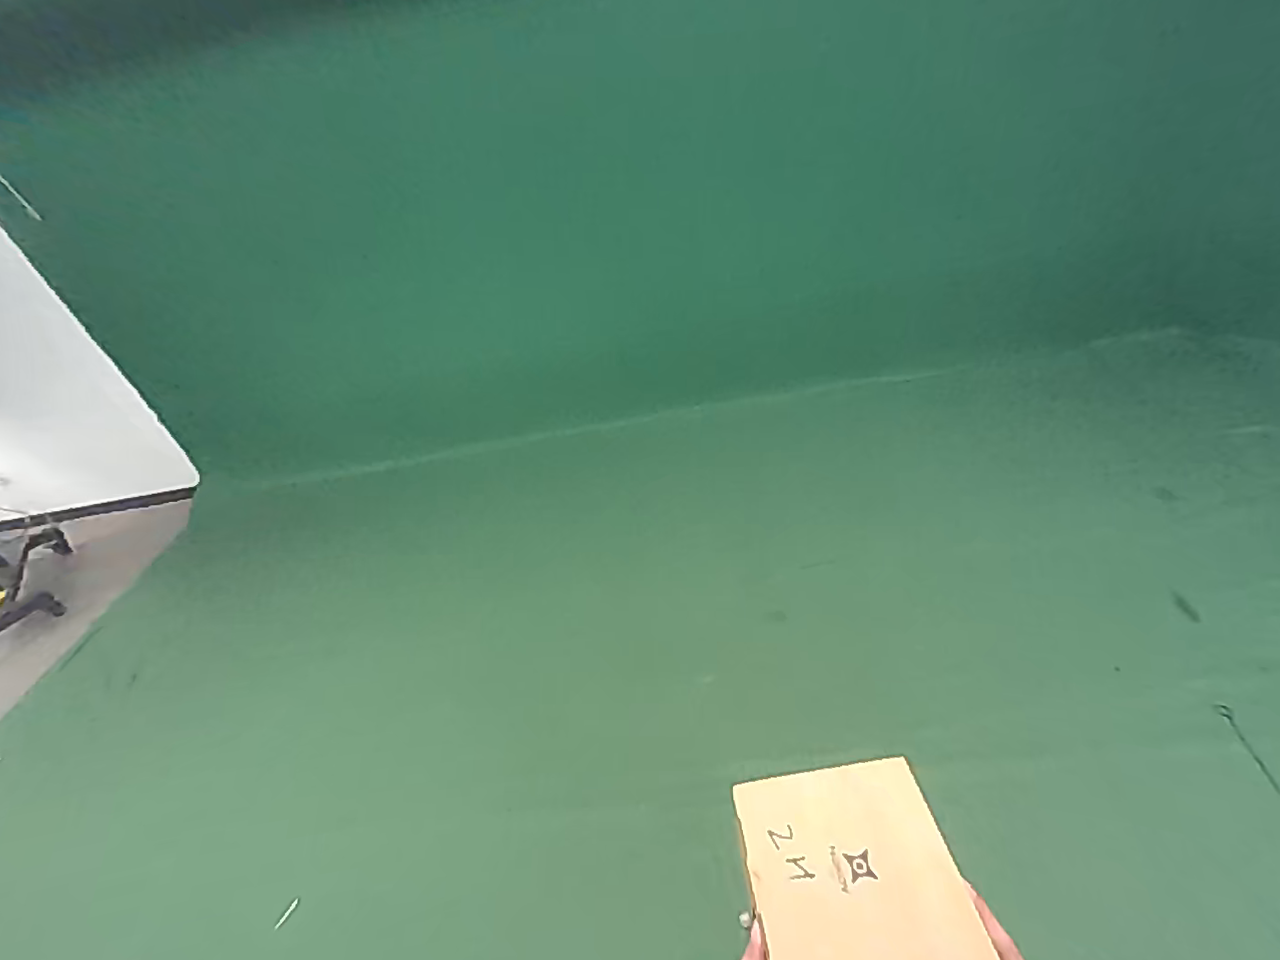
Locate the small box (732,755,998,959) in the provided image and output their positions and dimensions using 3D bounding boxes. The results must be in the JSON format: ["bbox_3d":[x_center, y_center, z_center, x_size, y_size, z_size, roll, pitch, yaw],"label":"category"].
[{"bbox_3d":[0.192,0.395,0.517,0.179,0.176,0.168,-11,36,2],"label":"small box"}]
